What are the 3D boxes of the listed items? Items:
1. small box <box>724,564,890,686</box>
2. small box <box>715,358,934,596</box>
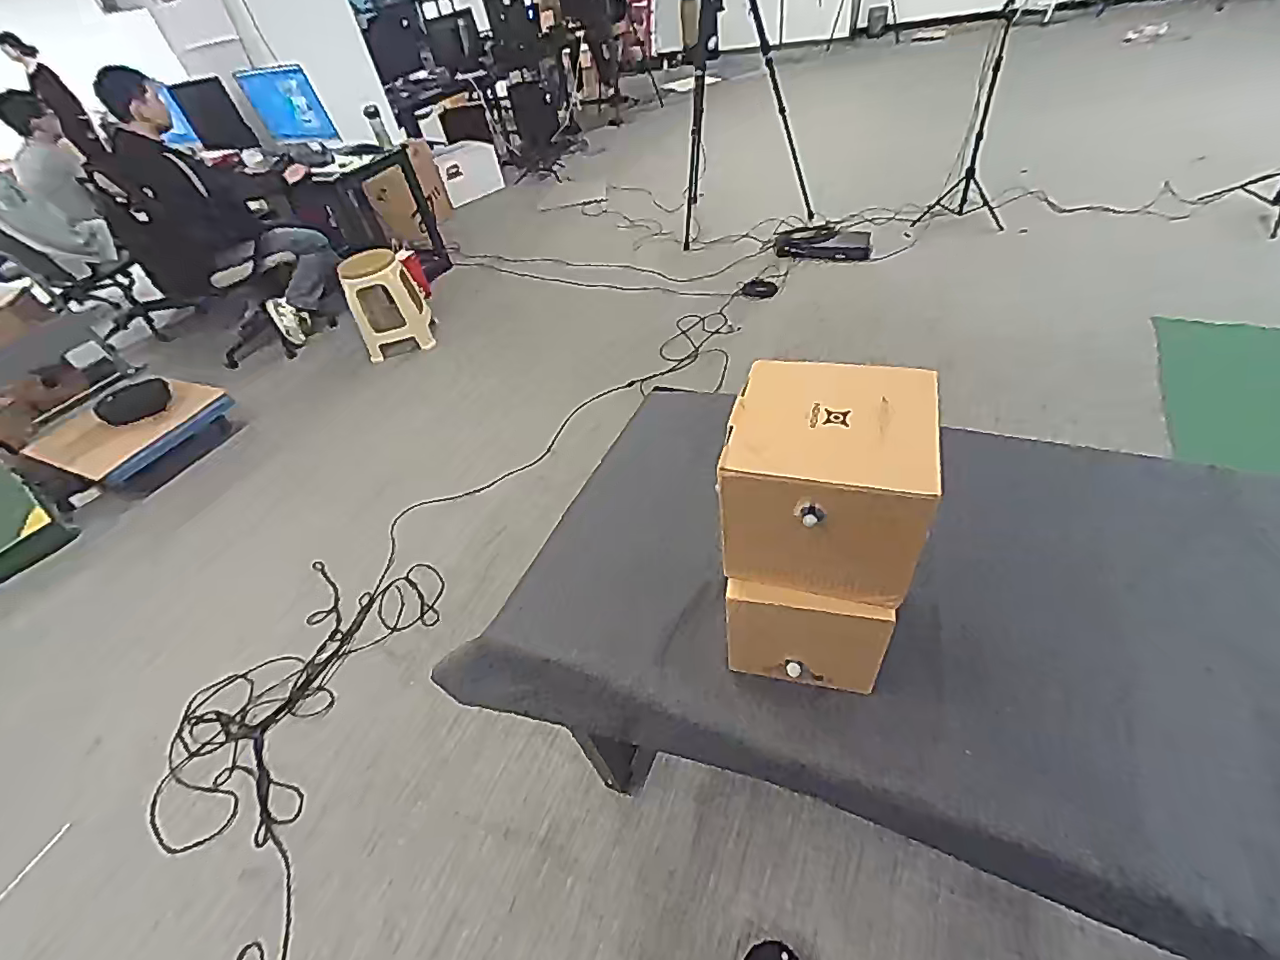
[{"bbox_3d":[0.196,0.120,0.654,0.168,0.176,0.179,4,47,16],"label":"small box"},{"bbox_3d":[0.182,-0.004,0.548,0.179,0.176,0.168,8,49,18],"label":"small box"}]
